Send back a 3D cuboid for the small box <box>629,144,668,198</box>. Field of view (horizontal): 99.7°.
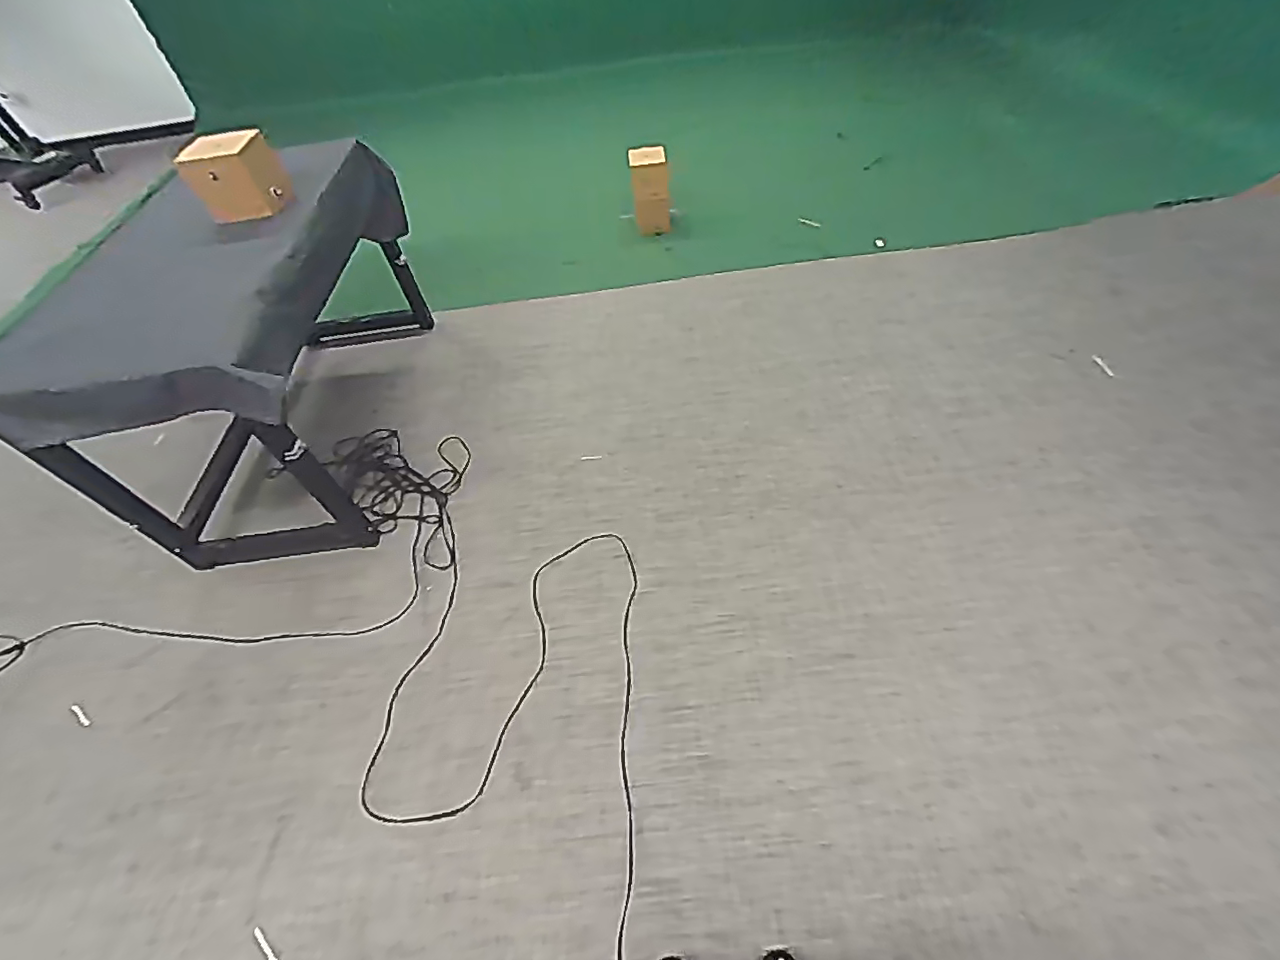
[{"bbox_3d":[0.040,-1.452,2.551,0.168,0.176,0.179,-6,52,3],"label":"small box"}]

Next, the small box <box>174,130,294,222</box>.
[{"bbox_3d":[-1.113,-0.837,1.499,0.179,0.176,0.168,-6,53,2],"label":"small box"}]
